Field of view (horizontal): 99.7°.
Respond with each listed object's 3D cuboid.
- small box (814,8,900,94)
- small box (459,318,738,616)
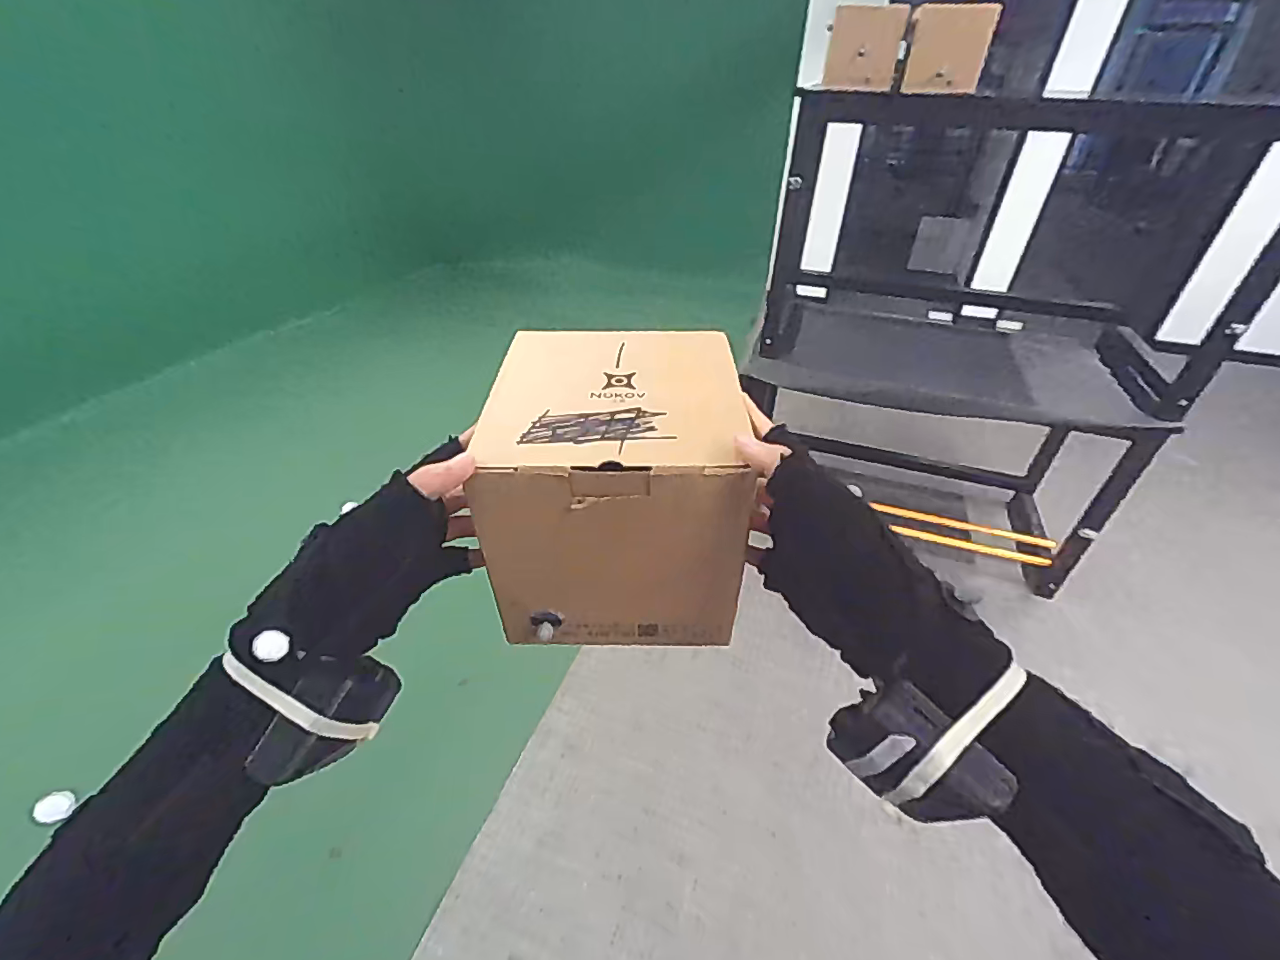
[{"bbox_3d":[0.556,-1.111,1.407,0.168,0.176,0.179,10,38,9],"label":"small box"},{"bbox_3d":[-0.020,-0.012,0.420,0.168,0.176,0.179,0,38,1],"label":"small box"}]
